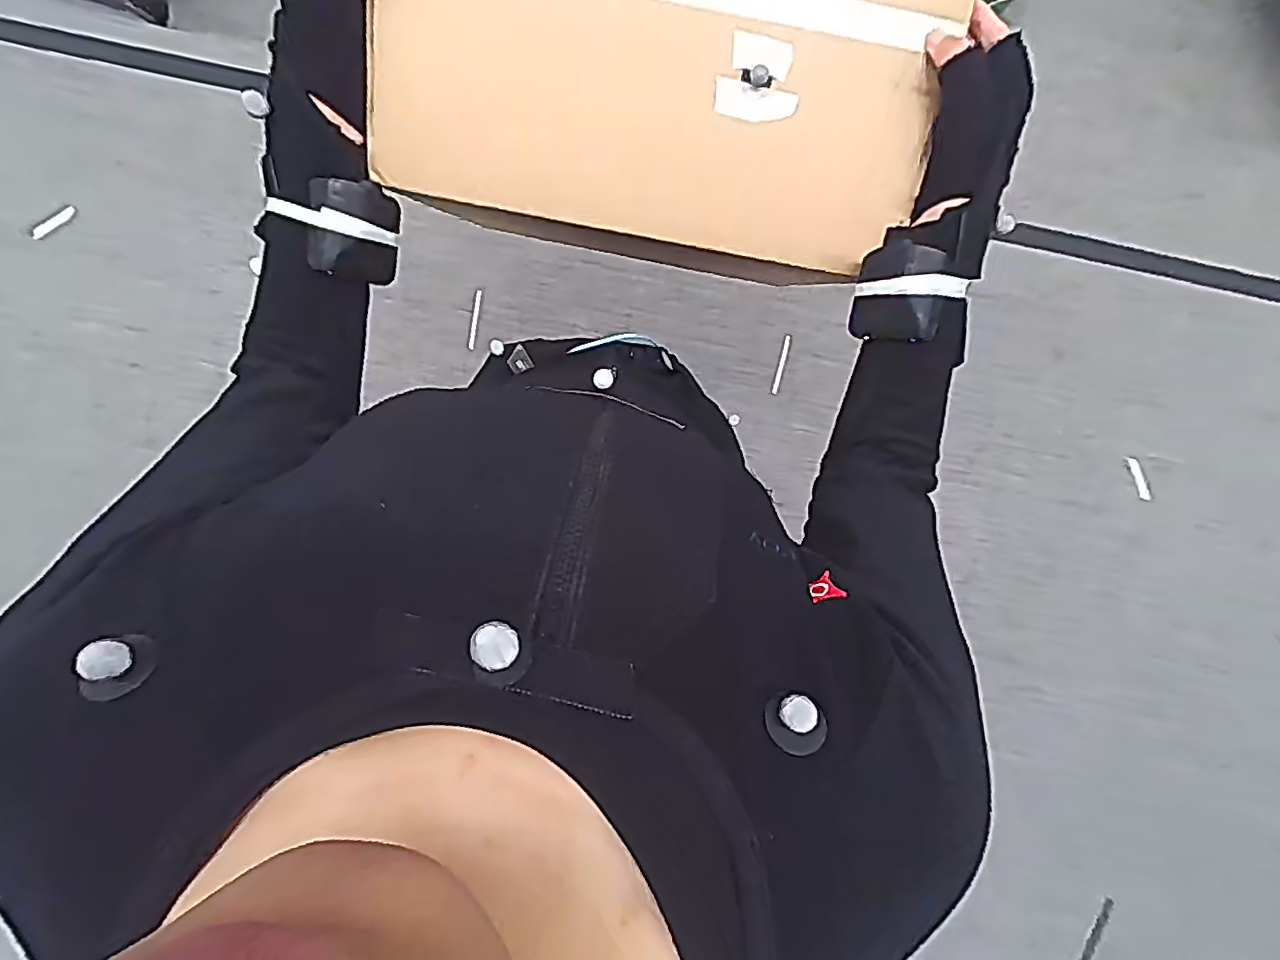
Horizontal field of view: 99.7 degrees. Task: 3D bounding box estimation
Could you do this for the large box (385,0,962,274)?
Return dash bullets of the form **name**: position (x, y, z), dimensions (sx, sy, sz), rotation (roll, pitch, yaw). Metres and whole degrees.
- **large box**: position (0.021, -0.392, 0.513), dimensions (0.408, 0.320, 0.320), rotation (9, 110, -5)
